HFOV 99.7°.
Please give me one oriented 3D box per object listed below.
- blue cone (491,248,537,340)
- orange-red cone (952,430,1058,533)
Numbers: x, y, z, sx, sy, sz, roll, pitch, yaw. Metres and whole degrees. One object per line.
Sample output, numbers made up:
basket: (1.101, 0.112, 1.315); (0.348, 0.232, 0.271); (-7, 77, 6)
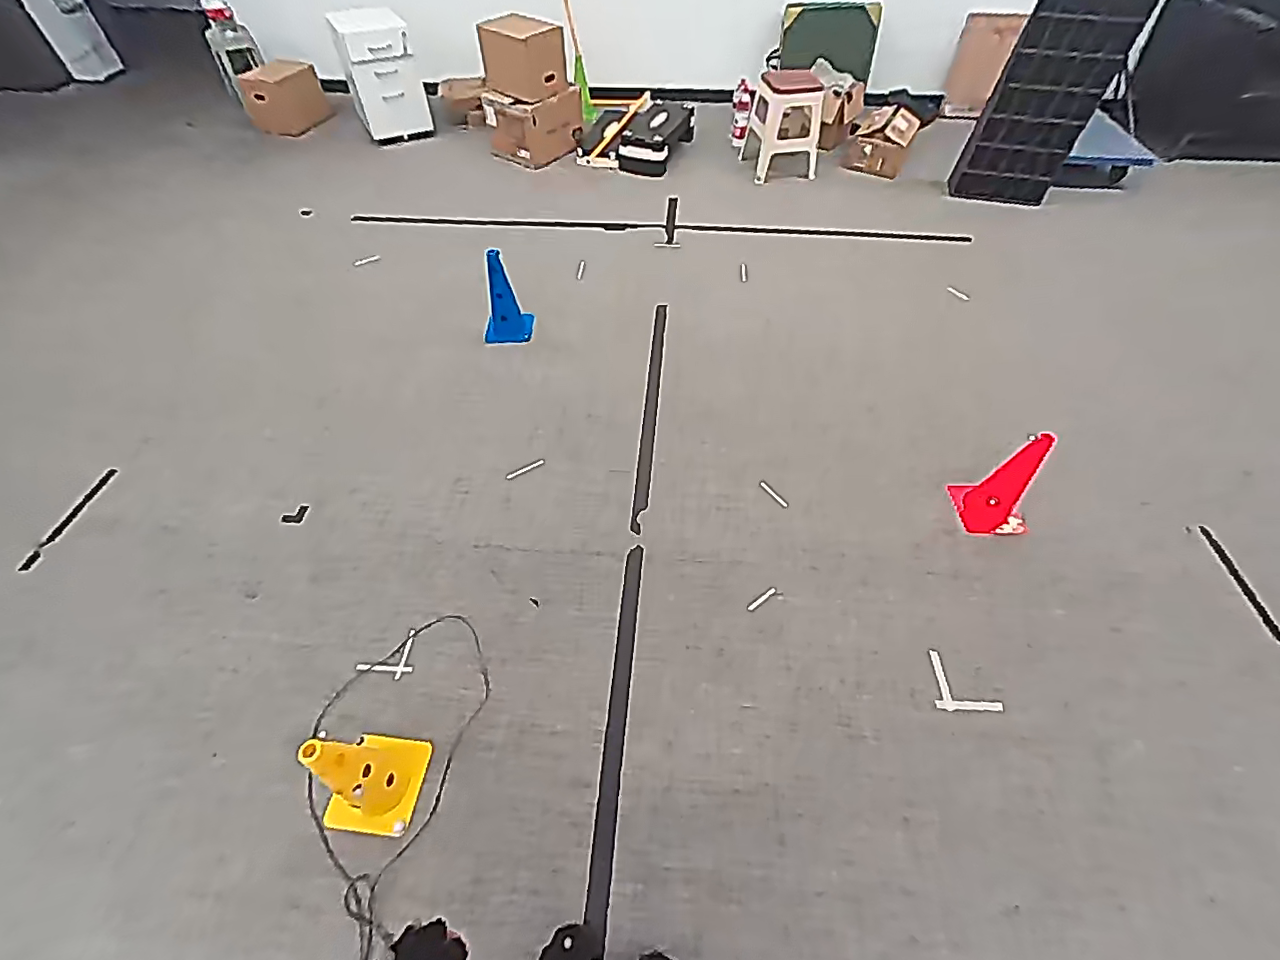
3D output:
blue cone: (-0.553, -0.776, 2.248); (0.192, 0.380, 0.193); (0, 52, 0)
orange-red cone: (1.150, -0.019, 1.649); (0.198, 0.360, 0.199); (1, 50, 0)
